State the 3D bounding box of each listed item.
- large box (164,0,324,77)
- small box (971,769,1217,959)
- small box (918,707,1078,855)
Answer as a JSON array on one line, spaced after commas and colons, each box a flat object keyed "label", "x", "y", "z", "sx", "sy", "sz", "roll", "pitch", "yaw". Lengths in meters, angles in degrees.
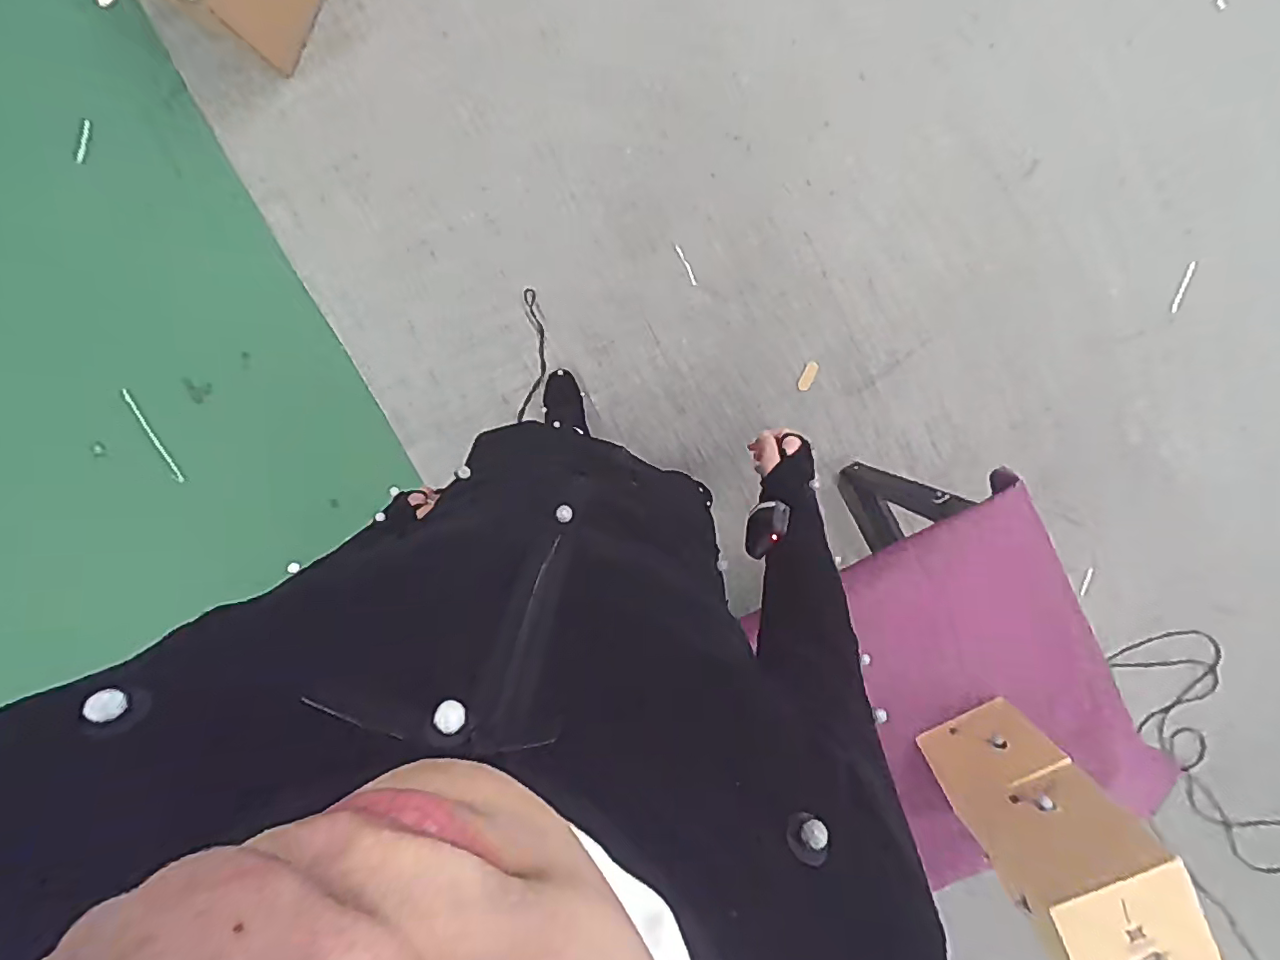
[{"label": "large box", "x": -0.981, "y": -1.306, "z": 1.282, "sx": 0.320, "sy": 0.320, "sz": 0.408, "roll": 29, "pitch": 99, "yaw": -3}, {"label": "small box", "x": 0.590, "y": 0.536, "z": 0.723, "sx": 0.168, "sy": 0.176, "sz": 0.179, "roll": -25, "pitch": 97, "yaw": 4}, {"label": "small box", "x": 0.597, "y": 0.505, "z": 0.885, "sx": 0.168, "sy": 0.176, "sz": 0.179, "roll": -30, "pitch": 98, "yaw": 5}]
